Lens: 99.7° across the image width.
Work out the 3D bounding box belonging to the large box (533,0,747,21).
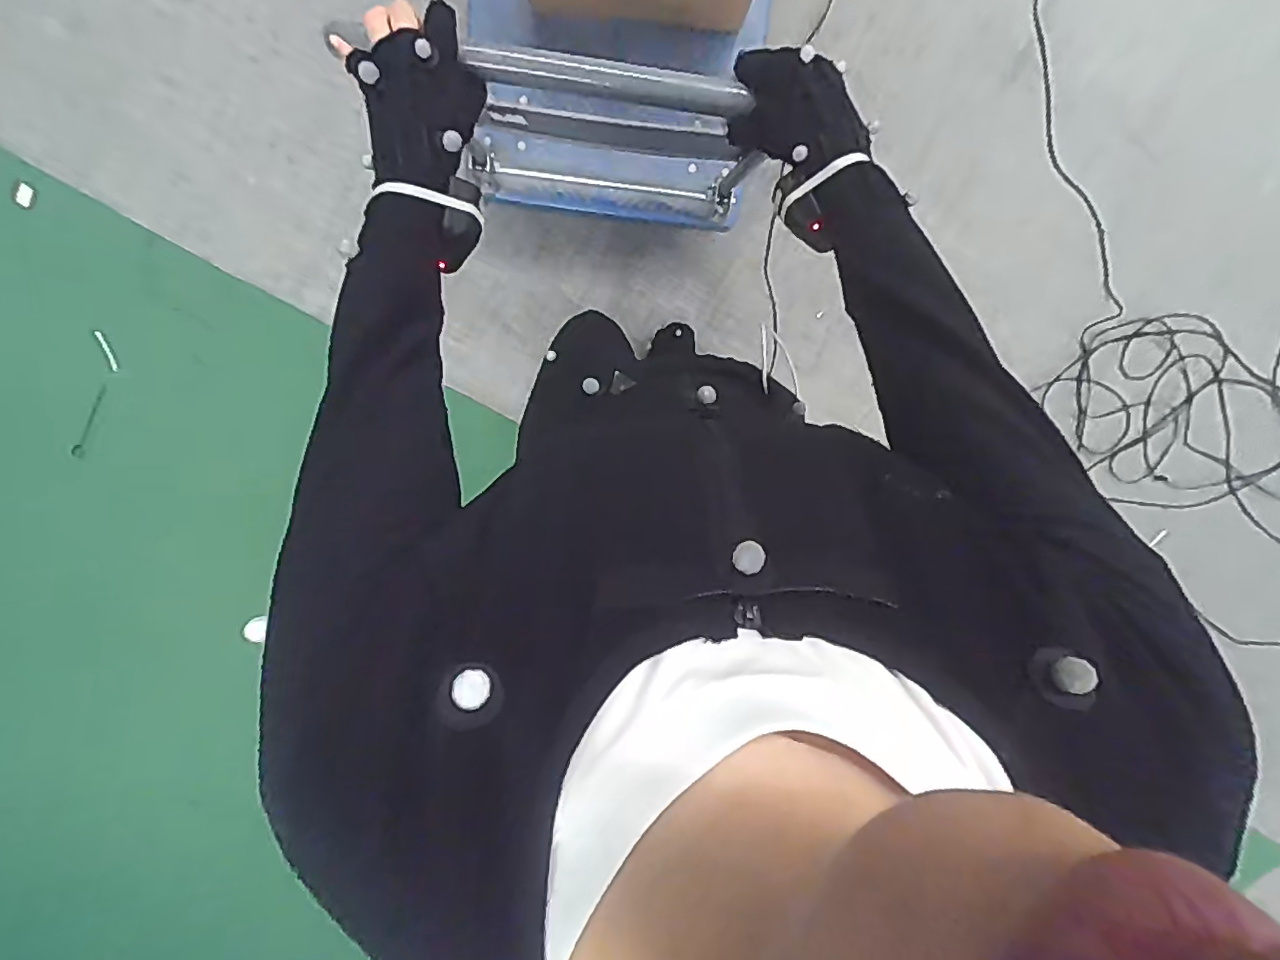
[{"bbox_3d":[0.007,-0.994,0.856,0.408,0.320,0.320,3,107,-2],"label":"large box"}]
